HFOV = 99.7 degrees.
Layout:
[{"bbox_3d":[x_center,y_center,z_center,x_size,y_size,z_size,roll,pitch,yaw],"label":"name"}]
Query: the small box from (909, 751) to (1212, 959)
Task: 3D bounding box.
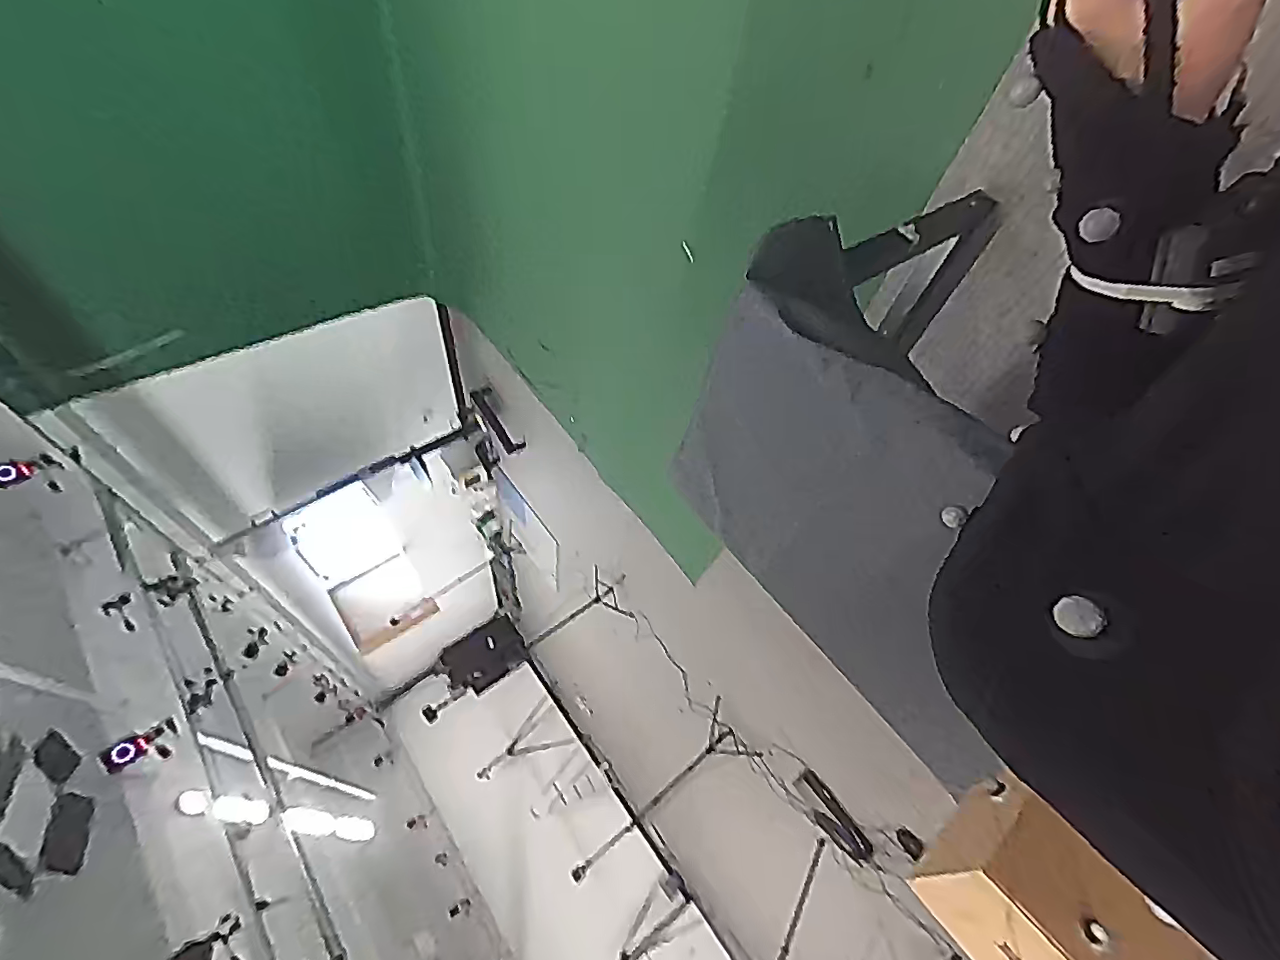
[{"bbox_3d":[0.449,0.440,0.592,0.179,0.176,0.168,46,149,27],"label":"small box"}]
